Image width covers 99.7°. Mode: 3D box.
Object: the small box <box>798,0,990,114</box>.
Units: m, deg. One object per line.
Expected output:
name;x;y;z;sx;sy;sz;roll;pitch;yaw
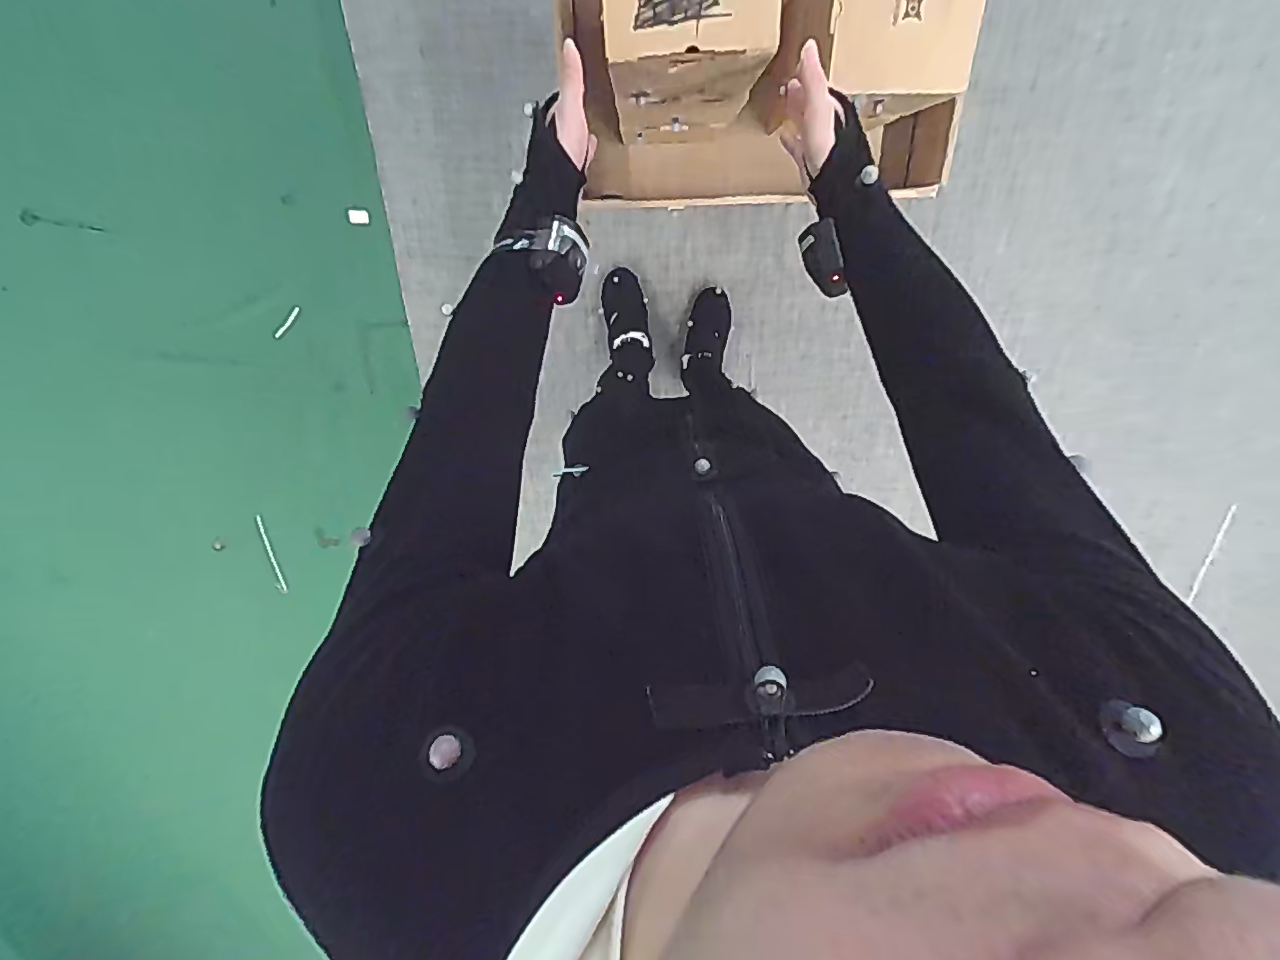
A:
small box;0.315;-0.580;0.693;0.179;0.176;0.168;0;117;-1

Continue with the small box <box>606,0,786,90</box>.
small box;0.050;-0.511;0.542;0.168;0.176;0.179;-3;114;1

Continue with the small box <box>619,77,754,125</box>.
small box;0.054;-0.574;0.693;0.168;0.176;0.179;-1;115;1
